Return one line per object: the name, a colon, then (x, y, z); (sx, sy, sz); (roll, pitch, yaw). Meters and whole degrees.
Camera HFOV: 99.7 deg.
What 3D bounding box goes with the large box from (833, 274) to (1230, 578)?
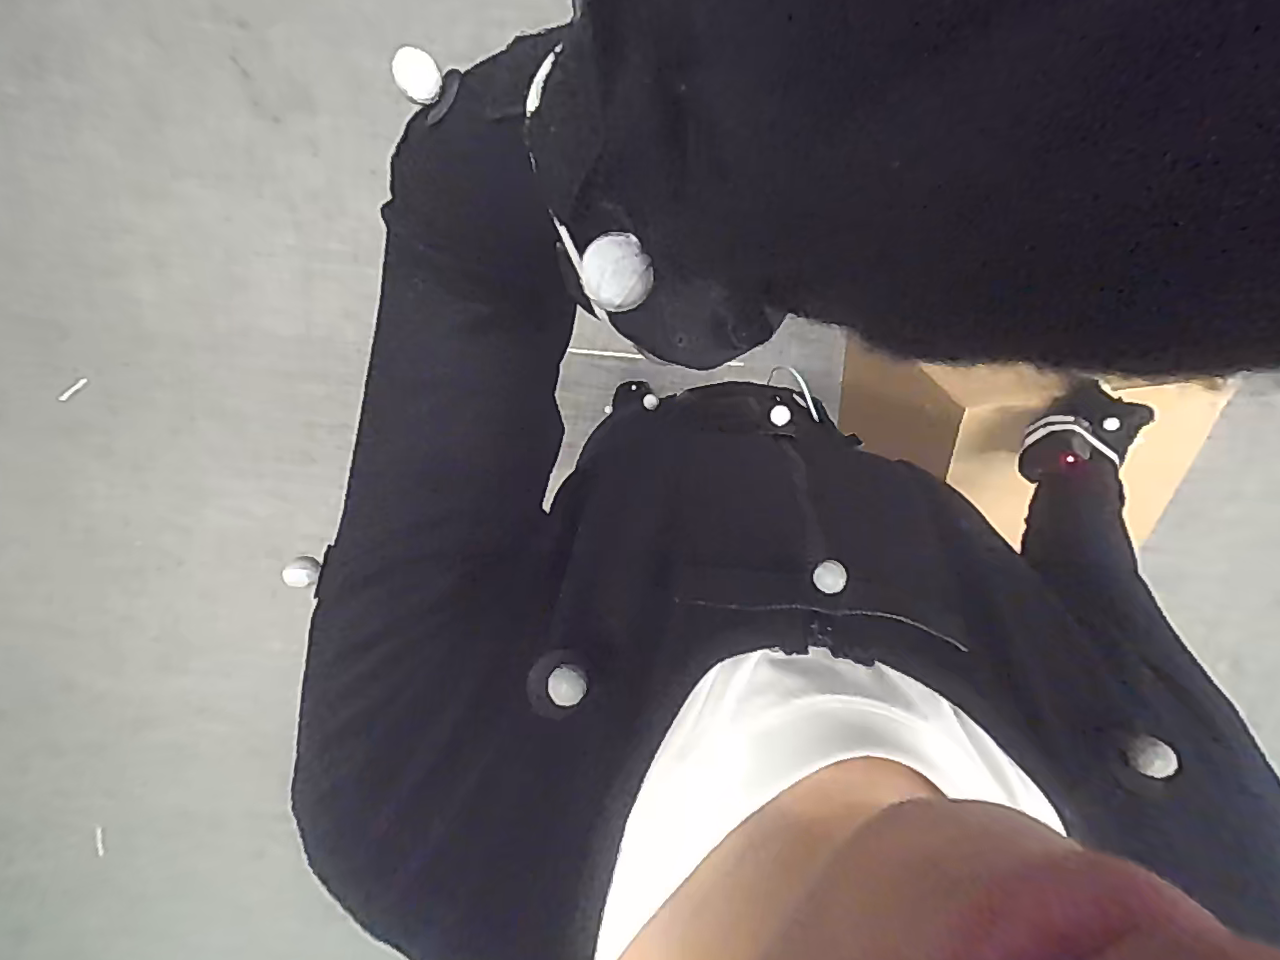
large box: (0.545, -0.103, 0.880); (0.320, 0.408, 0.320); (-8, 127, 3)
